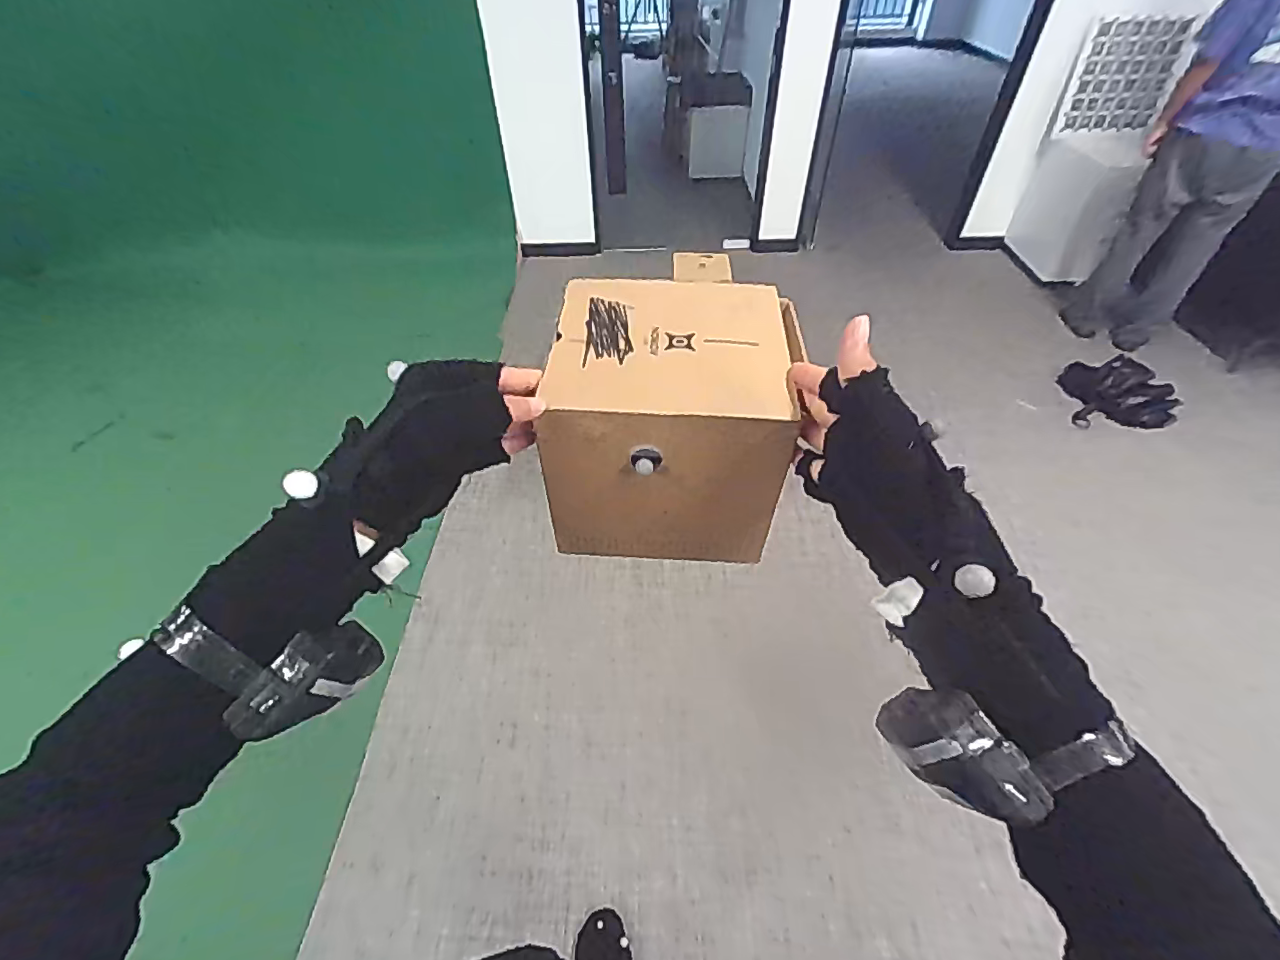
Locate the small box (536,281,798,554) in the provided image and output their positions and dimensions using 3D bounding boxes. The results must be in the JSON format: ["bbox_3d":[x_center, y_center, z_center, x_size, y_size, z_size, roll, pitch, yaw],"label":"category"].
[{"bbox_3d":[0.023,-0.050,0.463,0.179,0.176,0.168,3,49,2],"label":"small box"}]

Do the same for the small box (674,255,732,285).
[{"bbox_3d":[0.183,-0.555,1.624,0.168,0.176,0.179,3,47,1],"label":"small box"}]
